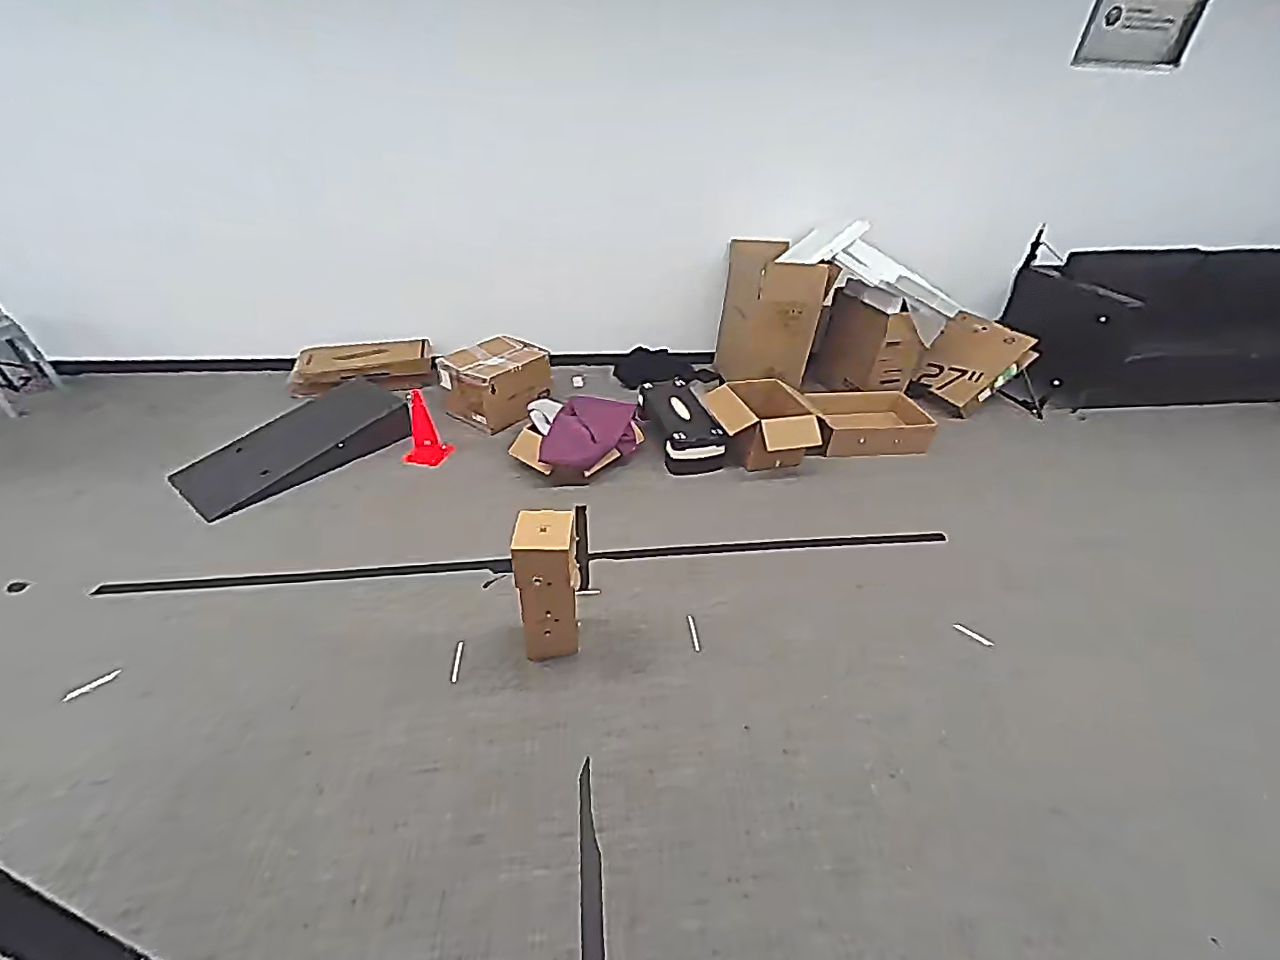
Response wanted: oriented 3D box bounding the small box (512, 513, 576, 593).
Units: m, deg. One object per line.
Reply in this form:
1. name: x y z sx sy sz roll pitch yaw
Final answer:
1. small box: -0.281 0.217 1.619 0.168 0.176 0.179 0 36 -2

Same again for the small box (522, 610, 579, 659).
1. small box: -0.299 0.481 1.812 0.179 0.176 0.168 -4 36 -11

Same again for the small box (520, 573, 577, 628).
1. small box: -0.287 0.345 1.718 0.168 0.176 0.179 -3 36 -7
